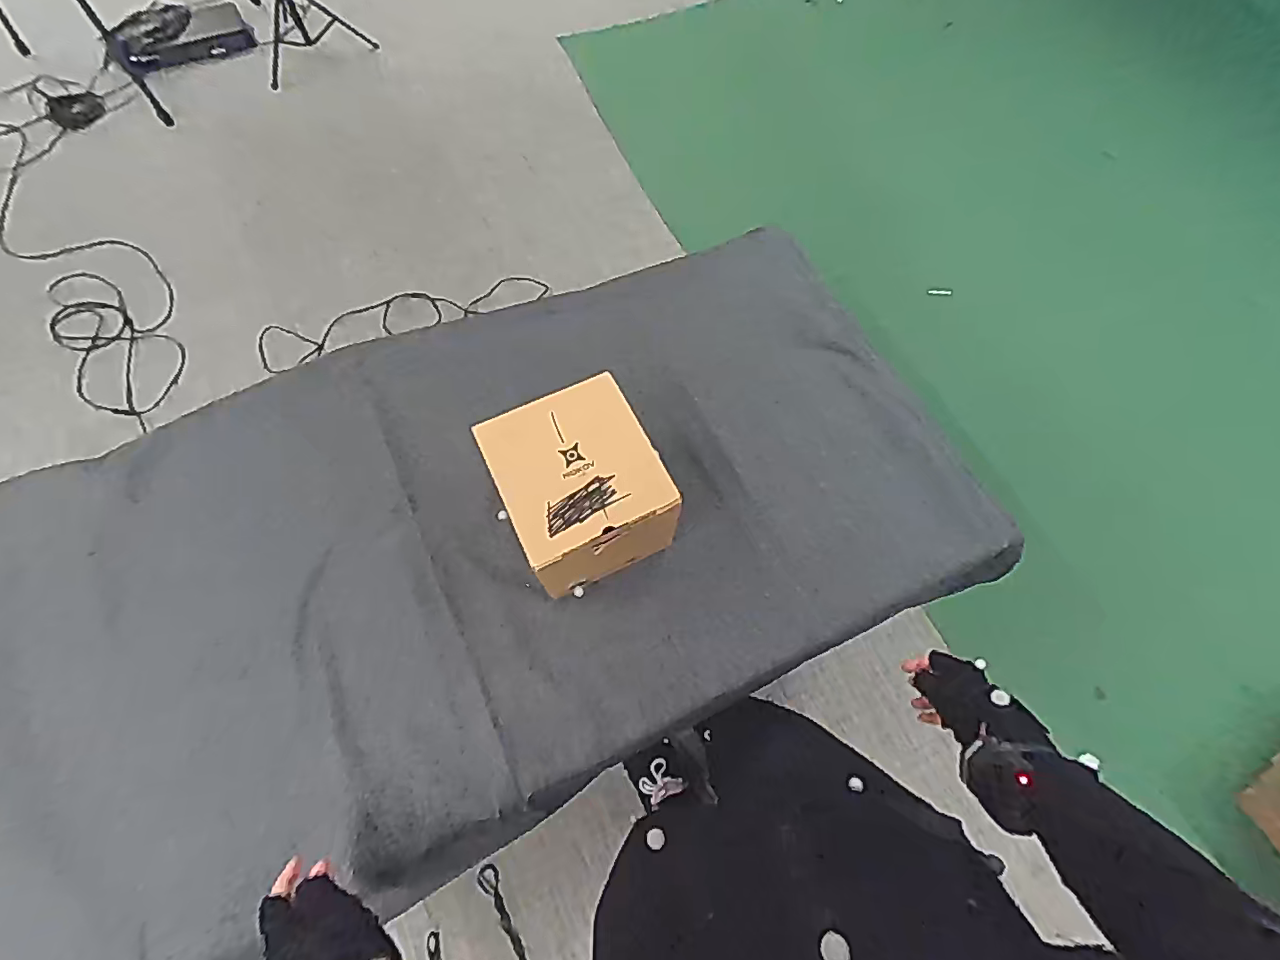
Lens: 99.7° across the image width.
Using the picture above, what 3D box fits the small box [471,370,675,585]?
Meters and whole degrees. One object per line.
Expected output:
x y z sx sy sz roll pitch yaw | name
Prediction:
-0.072 0.009 0.636 0.168 0.176 0.179 -25 69 -11 | small box
